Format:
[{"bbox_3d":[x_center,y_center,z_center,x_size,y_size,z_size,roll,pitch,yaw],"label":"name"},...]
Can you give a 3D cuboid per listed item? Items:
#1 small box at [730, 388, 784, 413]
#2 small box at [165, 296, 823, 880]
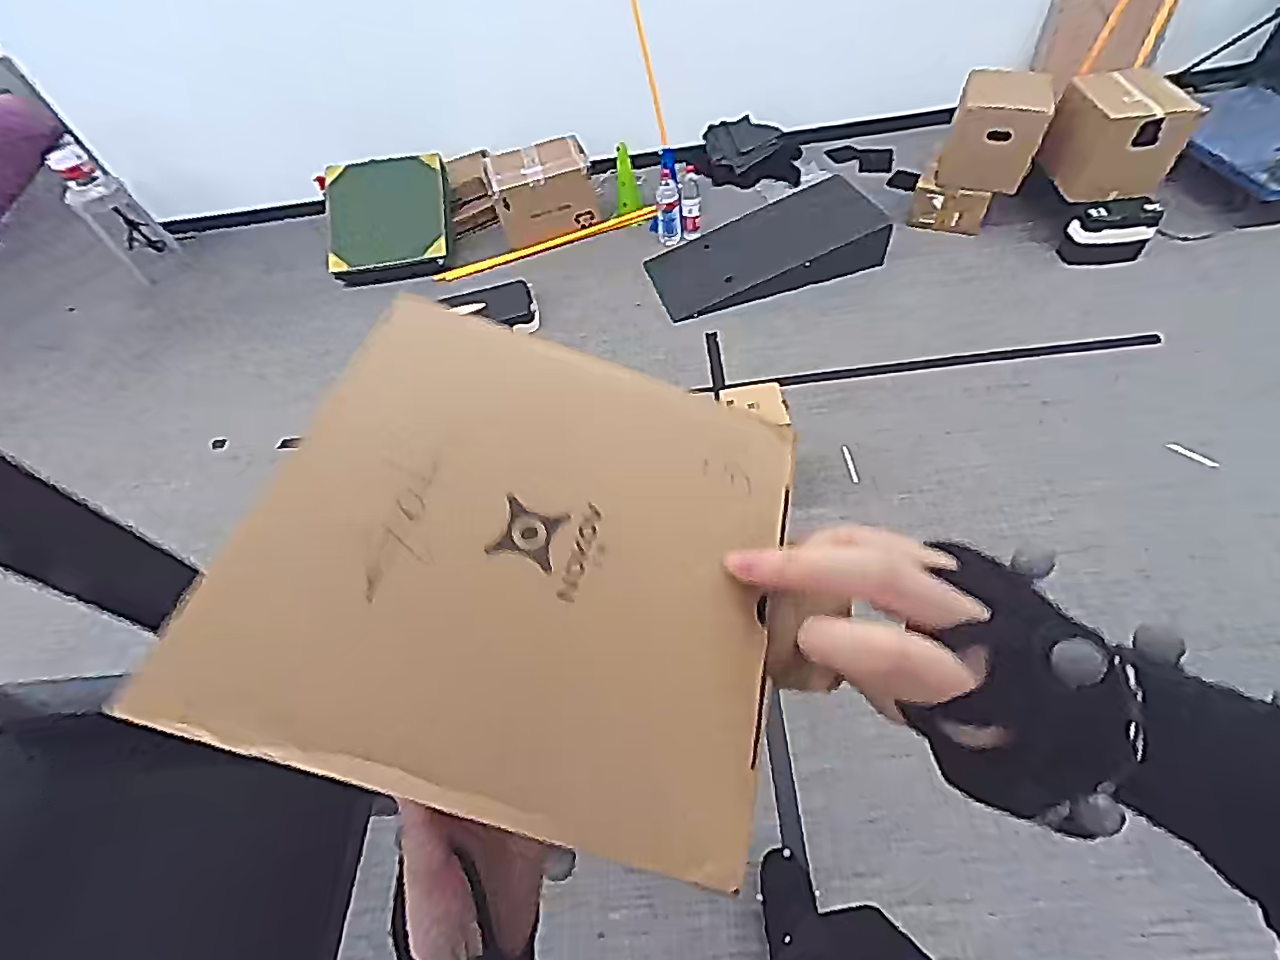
[{"bbox_3d":[0.328,-0.149,1.607,0.179,0.176,0.168,-7,52,1],"label":"small box"},{"bbox_3d":[-0.040,0.055,0.255,0.179,0.176,0.168,18,59,-2],"label":"small box"}]
